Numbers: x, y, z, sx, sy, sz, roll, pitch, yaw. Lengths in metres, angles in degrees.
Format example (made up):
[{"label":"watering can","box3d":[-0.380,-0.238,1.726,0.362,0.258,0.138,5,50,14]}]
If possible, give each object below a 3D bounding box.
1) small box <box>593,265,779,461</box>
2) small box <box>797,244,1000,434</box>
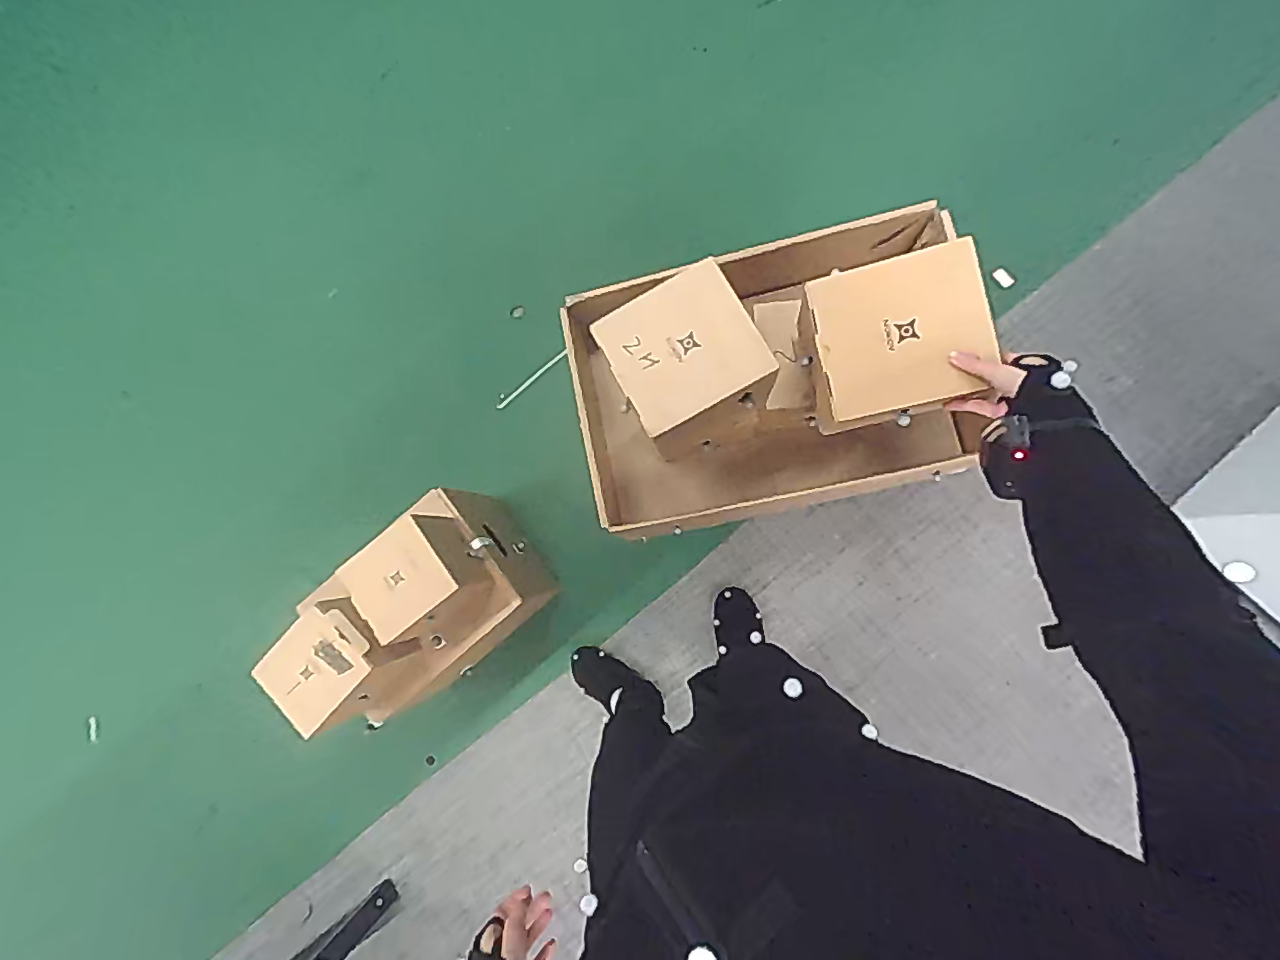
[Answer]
[{"label":"small box","box3d":[0.062,-0.144,0.728,0.179,0.176,0.168,-29,79,3]},{"label":"small box","box3d":[0.302,-0.159,0.671,0.179,0.176,0.168,-13,87,14]}]
